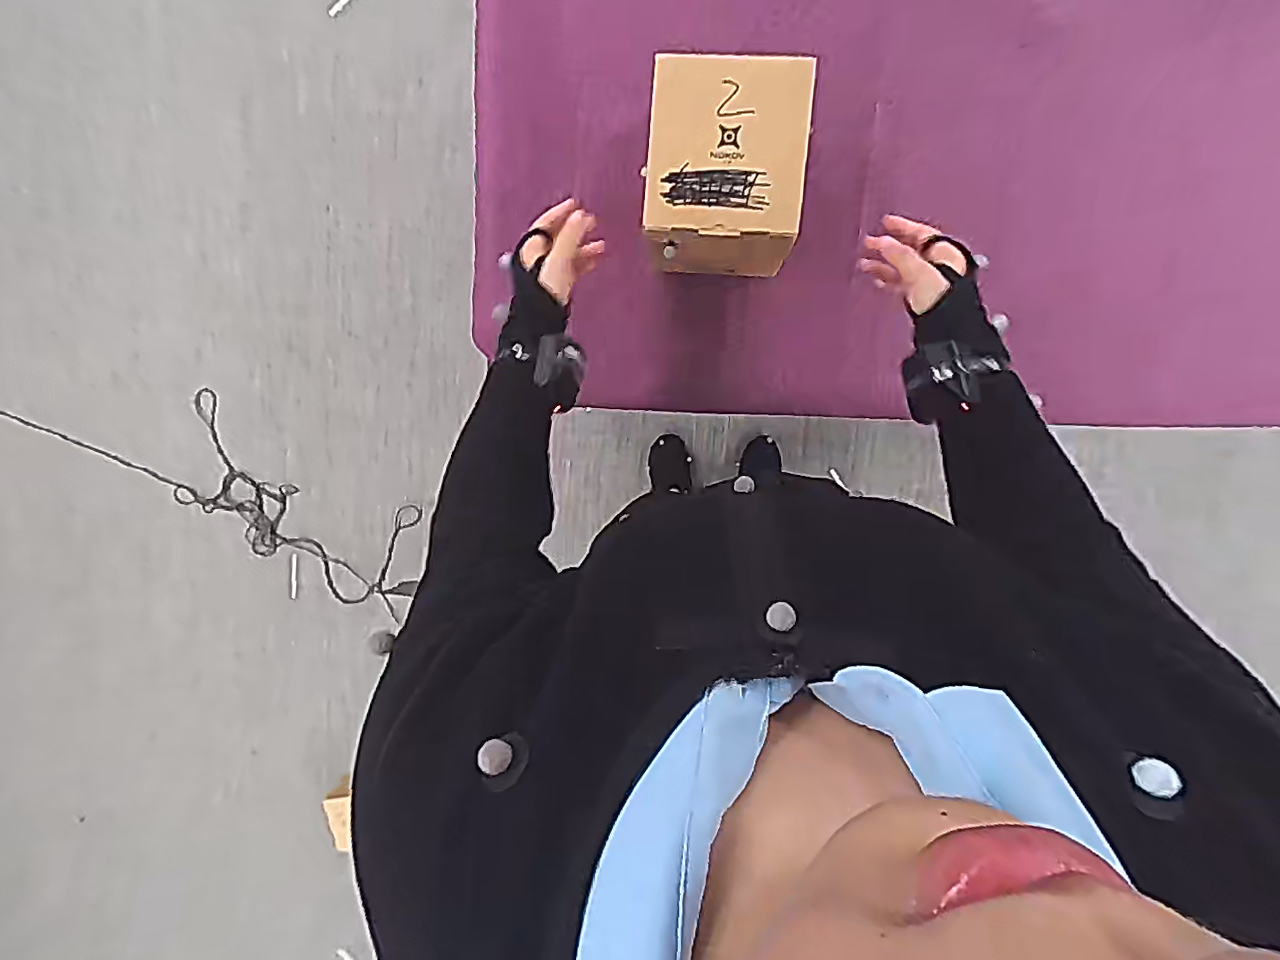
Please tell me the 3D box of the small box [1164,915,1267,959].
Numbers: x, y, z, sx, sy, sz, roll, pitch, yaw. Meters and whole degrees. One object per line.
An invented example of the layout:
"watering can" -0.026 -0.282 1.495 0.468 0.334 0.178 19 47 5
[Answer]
"small box" 1.567 1.318 1.431 0.168 0.176 0.179 29 98 1

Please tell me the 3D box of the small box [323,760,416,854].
"small box" -0.788 0.960 1.601 0.179 0.176 0.168 -11 96 7
